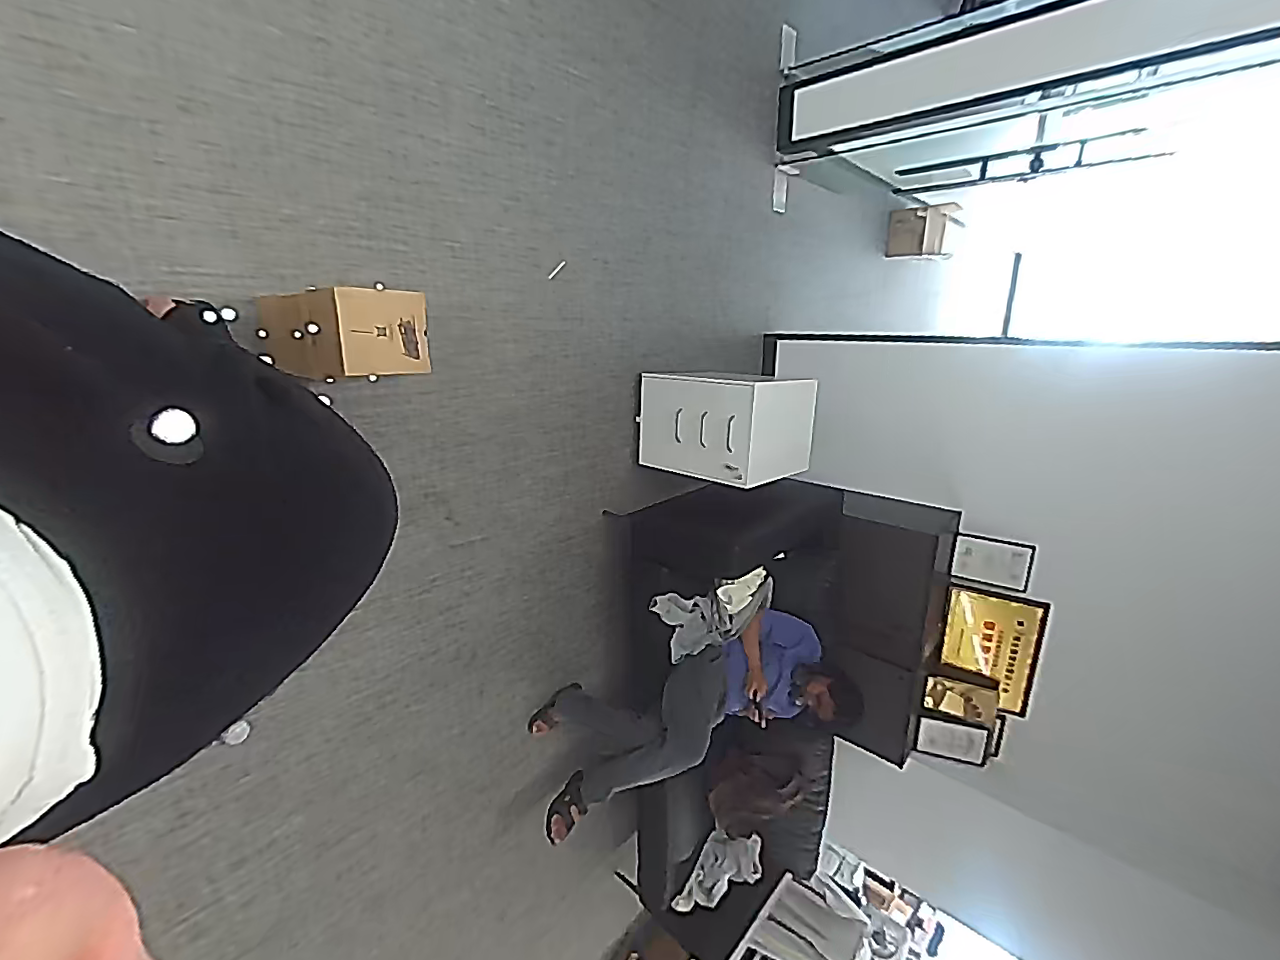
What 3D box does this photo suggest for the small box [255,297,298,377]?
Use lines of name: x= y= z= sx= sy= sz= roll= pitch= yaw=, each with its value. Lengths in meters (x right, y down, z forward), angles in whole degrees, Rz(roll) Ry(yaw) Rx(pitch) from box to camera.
small box: x=-0.816 y=-0.352 z=1.327 sx=0.168 sy=0.176 sz=0.179 roll=-16 pitch=113 yaw=-47

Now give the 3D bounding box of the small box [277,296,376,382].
small box: x=-0.695 y=-0.322 z=1.225 sx=0.168 sy=0.176 sz=0.179 roll=-17 pitch=116 yaw=-46

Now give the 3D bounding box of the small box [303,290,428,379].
small box: x=-0.566 y=-0.301 z=1.122 sx=0.179 sy=0.176 sz=0.168 roll=-15 pitch=111 yaw=-46
